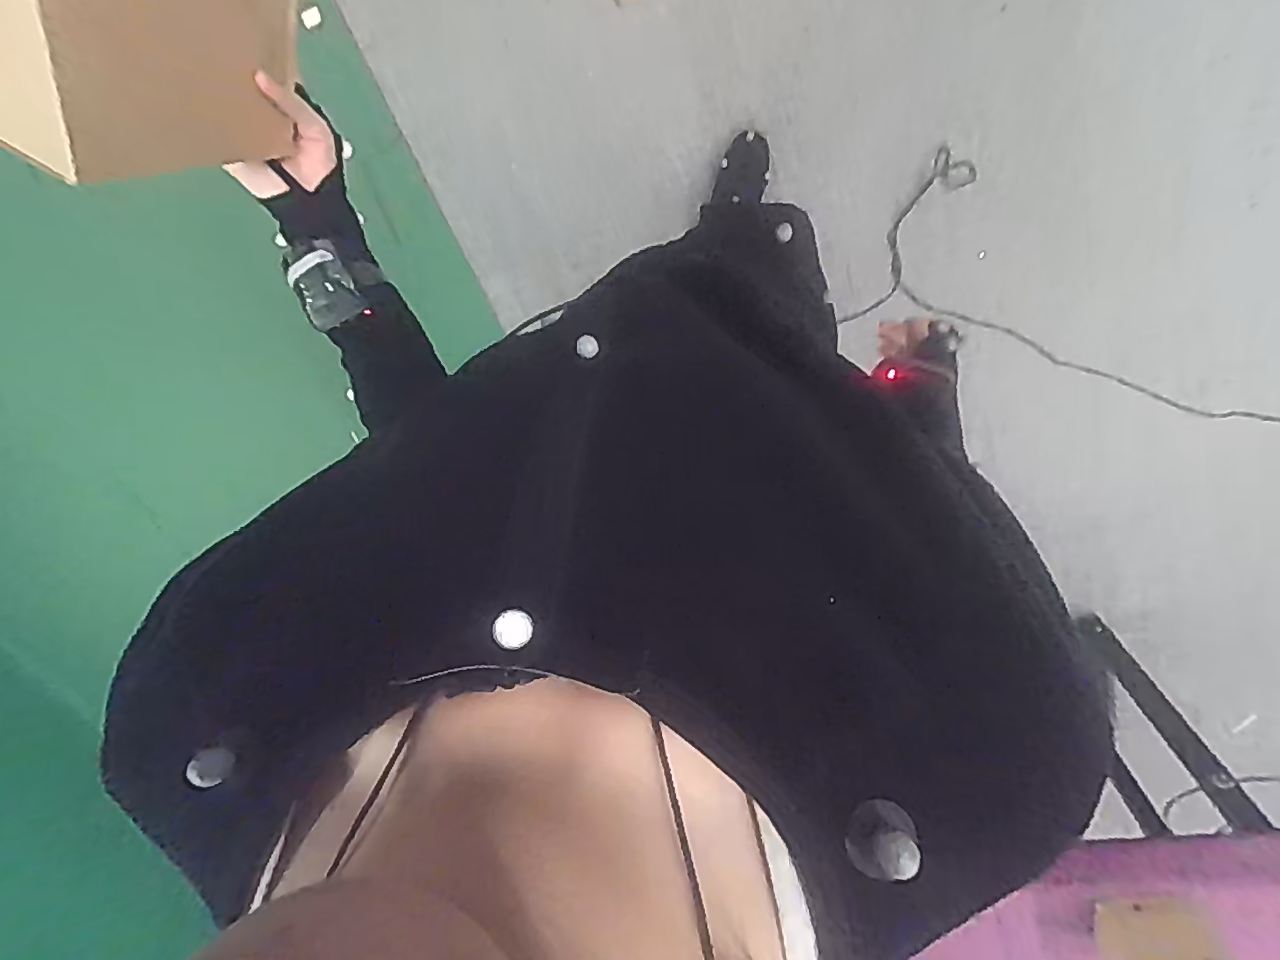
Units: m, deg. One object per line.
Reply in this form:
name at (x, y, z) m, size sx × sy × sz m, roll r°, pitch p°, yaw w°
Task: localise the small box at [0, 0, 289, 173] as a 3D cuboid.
small box at (-0.331, -0.313, 0.306) m, size 0.179 × 0.168 × 0.176 m, roll 30°, pitch 128°, yaw -6°
